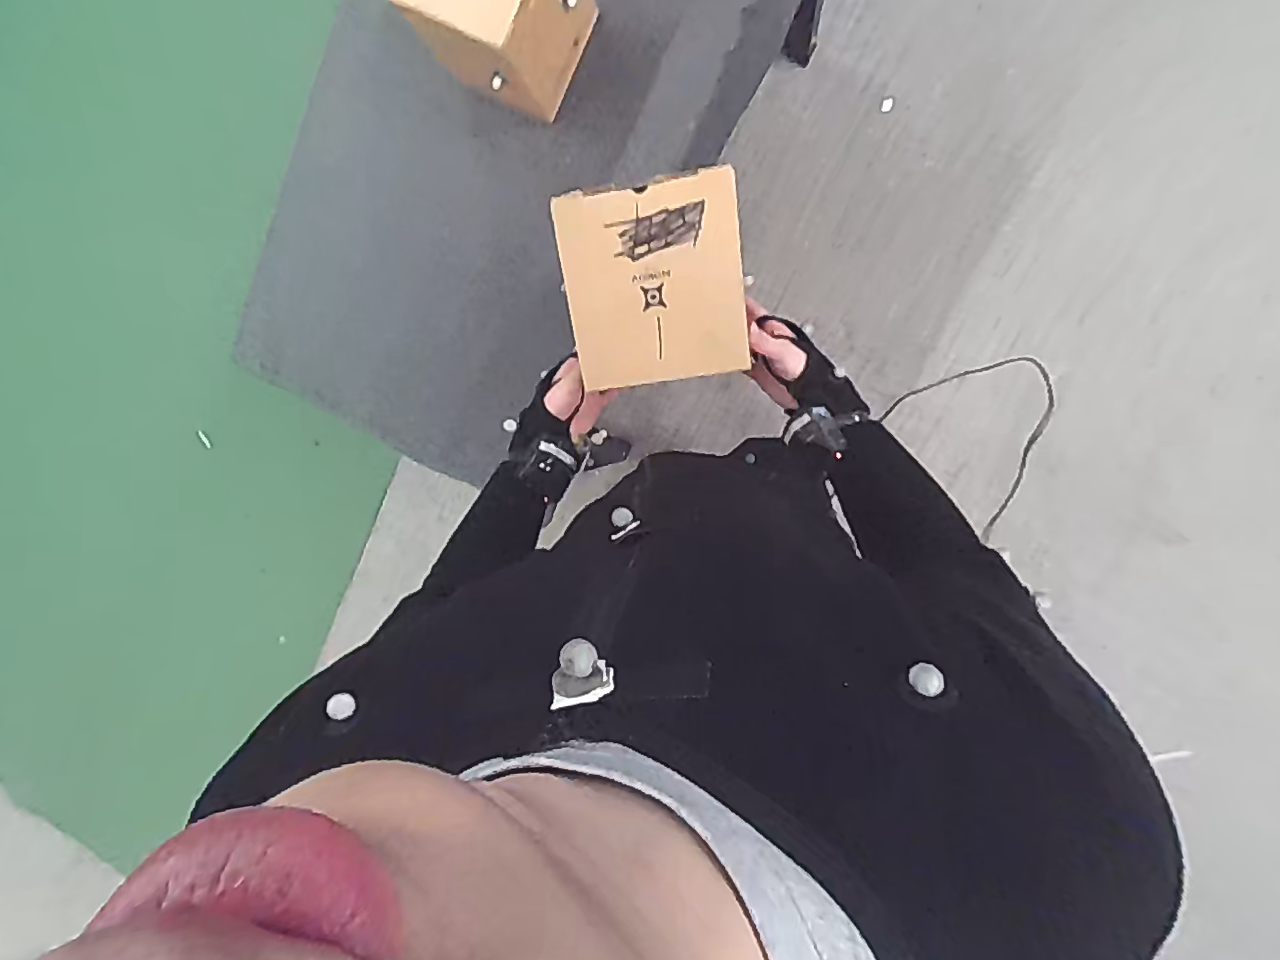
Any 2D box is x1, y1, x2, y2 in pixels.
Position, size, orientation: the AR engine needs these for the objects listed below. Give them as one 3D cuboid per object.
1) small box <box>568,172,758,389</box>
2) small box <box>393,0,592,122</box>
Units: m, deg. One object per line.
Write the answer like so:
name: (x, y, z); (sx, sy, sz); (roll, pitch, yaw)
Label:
small box: (0.030, -0.206, 0.584); (0.168, 0.176, 0.179); (-6, 109, 8)
small box: (-0.187, -0.631, 0.735); (0.179, 0.176, 0.168); (28, 99, 9)
